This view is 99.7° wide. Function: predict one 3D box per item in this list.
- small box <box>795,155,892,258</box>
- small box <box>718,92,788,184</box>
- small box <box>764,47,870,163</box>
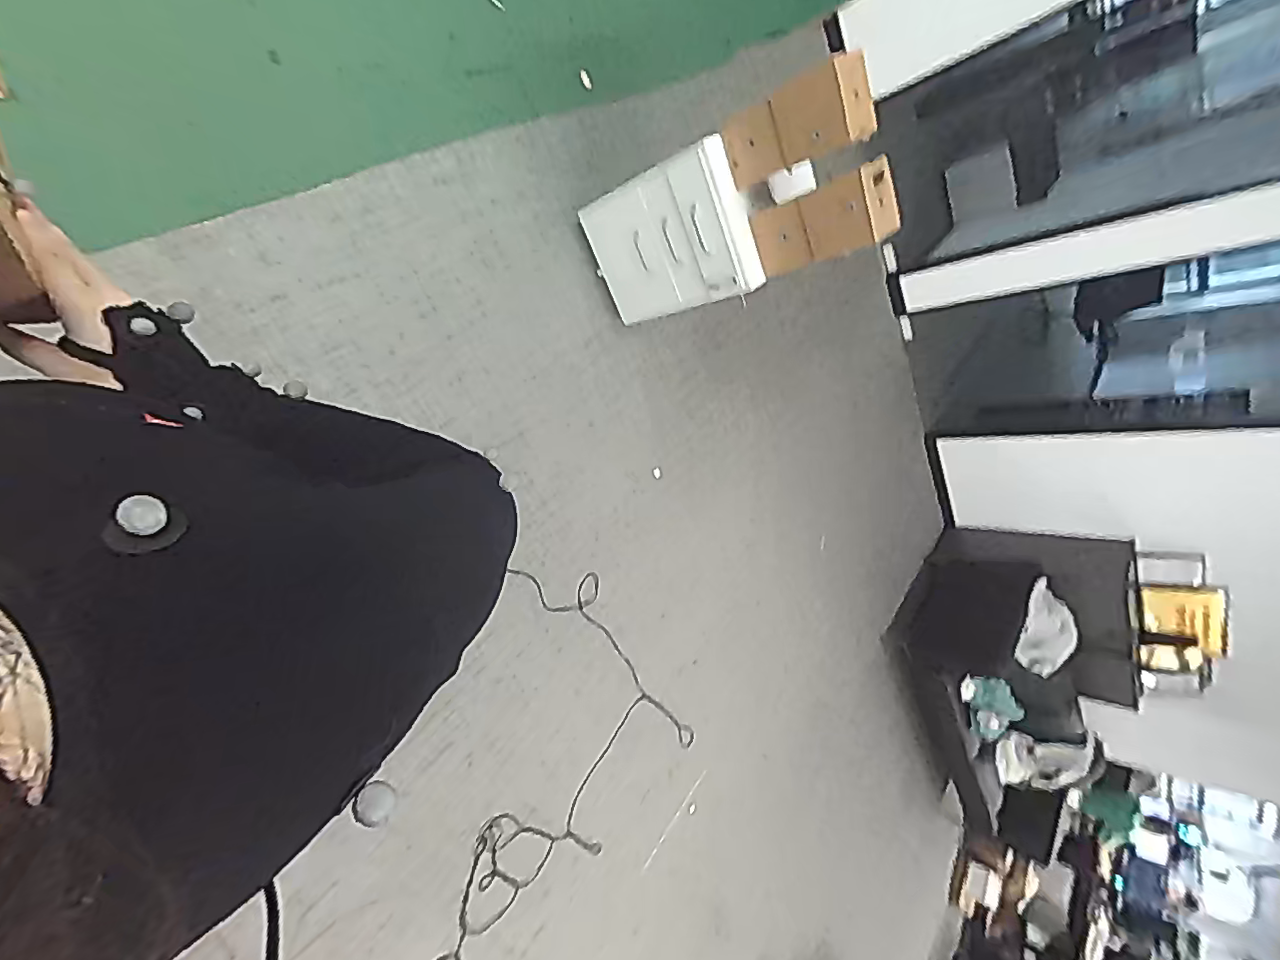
[{"bbox_3d":[0.525,-0.704,1.401,0.168,0.176,0.179,-39,116,-34],"label":"small box"},{"bbox_3d":[0.326,-0.910,1.430,0.179,0.176,0.168,-41,119,-34],"label":"small box"},{"bbox_3d":[0.426,-0.894,1.304,0.168,0.176,0.179,-43,119,-34],"label":"small box"}]
